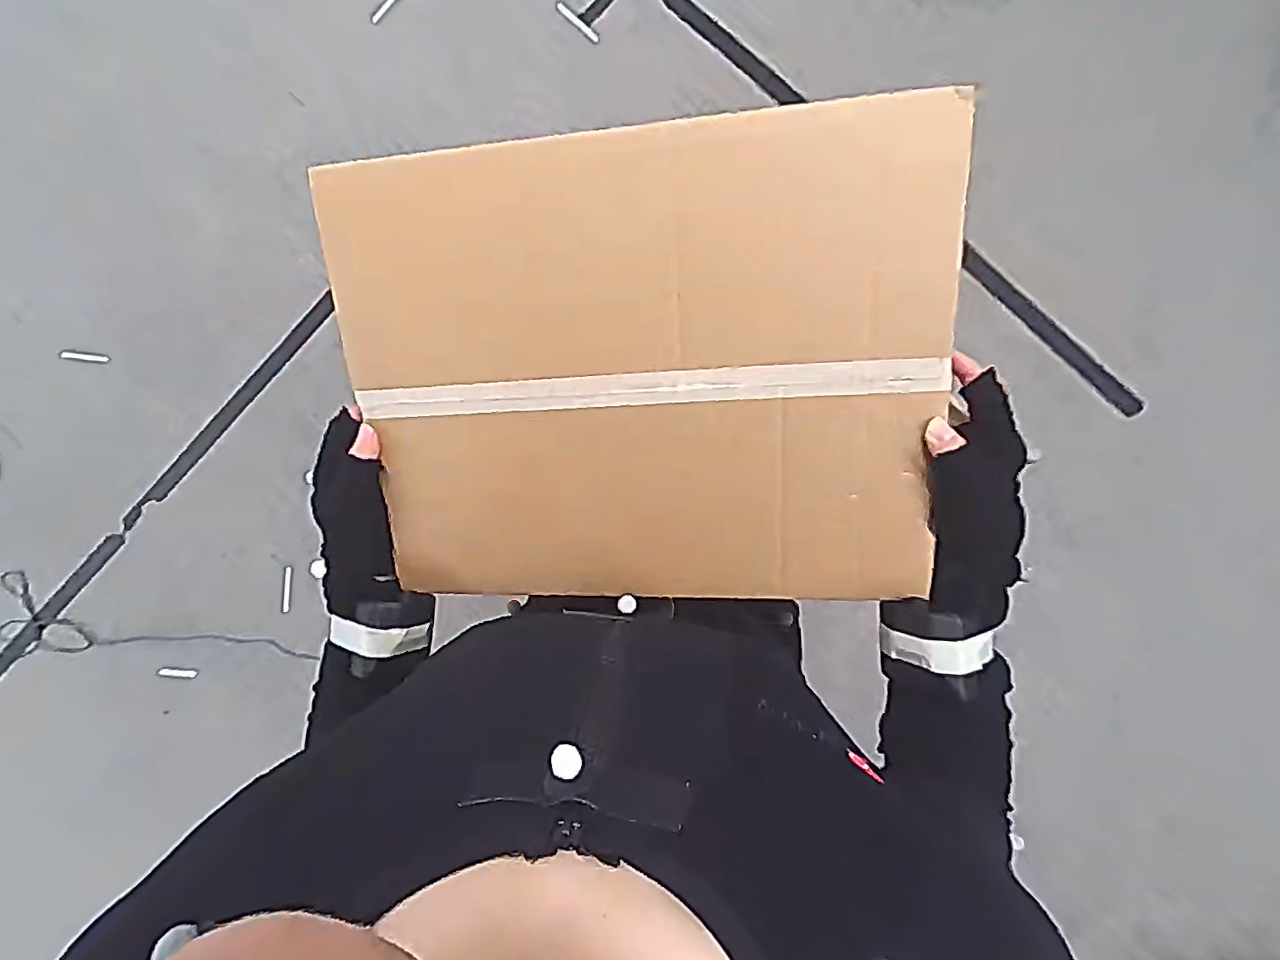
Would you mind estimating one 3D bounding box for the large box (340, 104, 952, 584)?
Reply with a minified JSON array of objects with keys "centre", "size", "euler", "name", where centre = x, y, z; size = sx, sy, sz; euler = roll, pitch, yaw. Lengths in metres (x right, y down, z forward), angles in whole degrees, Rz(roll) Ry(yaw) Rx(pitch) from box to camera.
[{"centre":[0.016,-0.108,0.525],"size":[0.408,0.320,0.320],"euler":[-1,108,9],"name":"large box"}]
